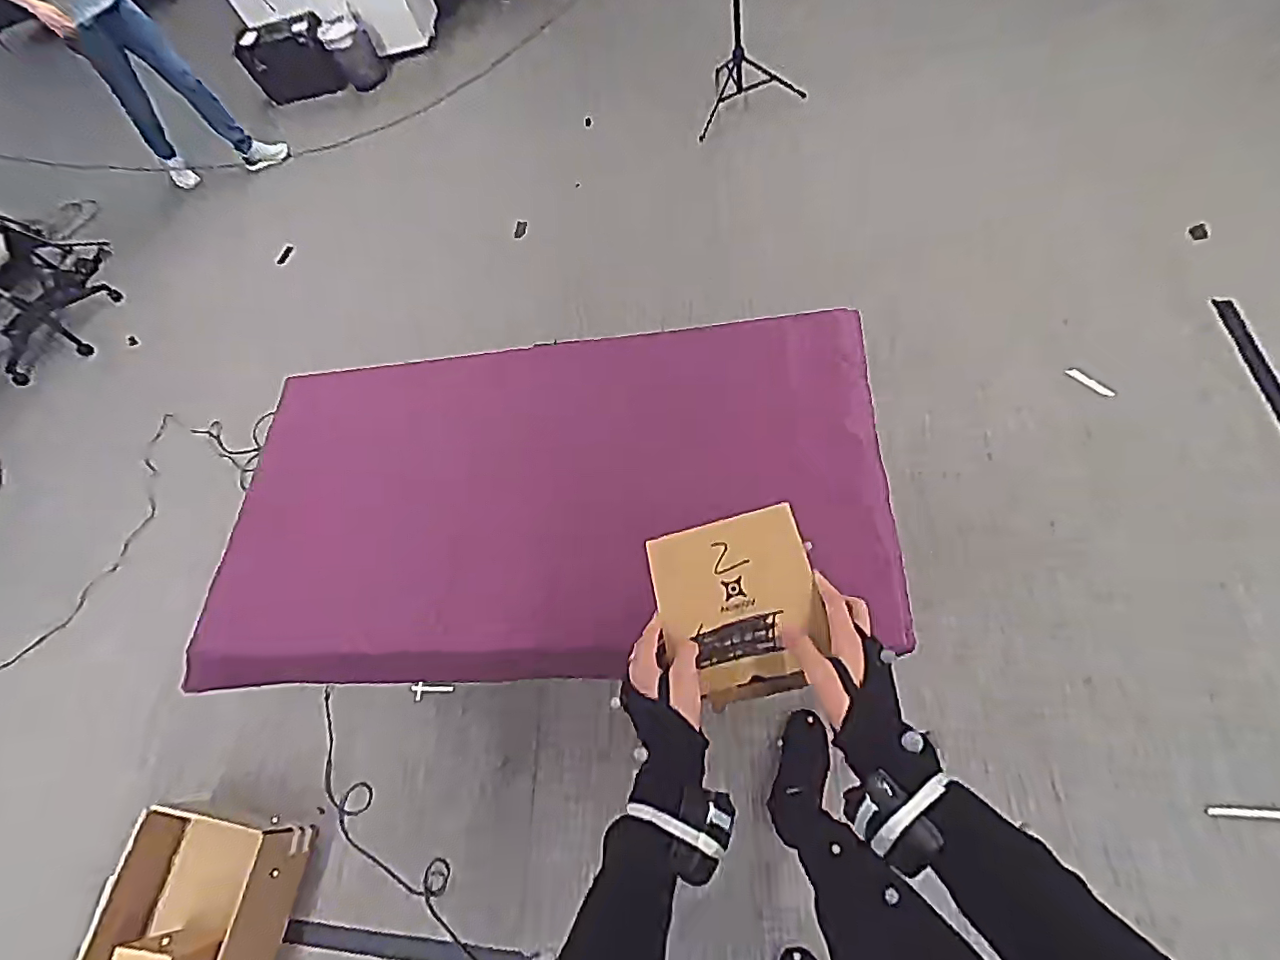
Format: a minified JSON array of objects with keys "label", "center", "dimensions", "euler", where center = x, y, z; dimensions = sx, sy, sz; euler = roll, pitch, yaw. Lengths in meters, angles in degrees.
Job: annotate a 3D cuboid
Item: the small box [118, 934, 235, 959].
[{"label":"small box","center":[-1.127,1.215,1.289],"dimensions":[0.179,0.176,0.168],"euler":[-3,62,12]}]
